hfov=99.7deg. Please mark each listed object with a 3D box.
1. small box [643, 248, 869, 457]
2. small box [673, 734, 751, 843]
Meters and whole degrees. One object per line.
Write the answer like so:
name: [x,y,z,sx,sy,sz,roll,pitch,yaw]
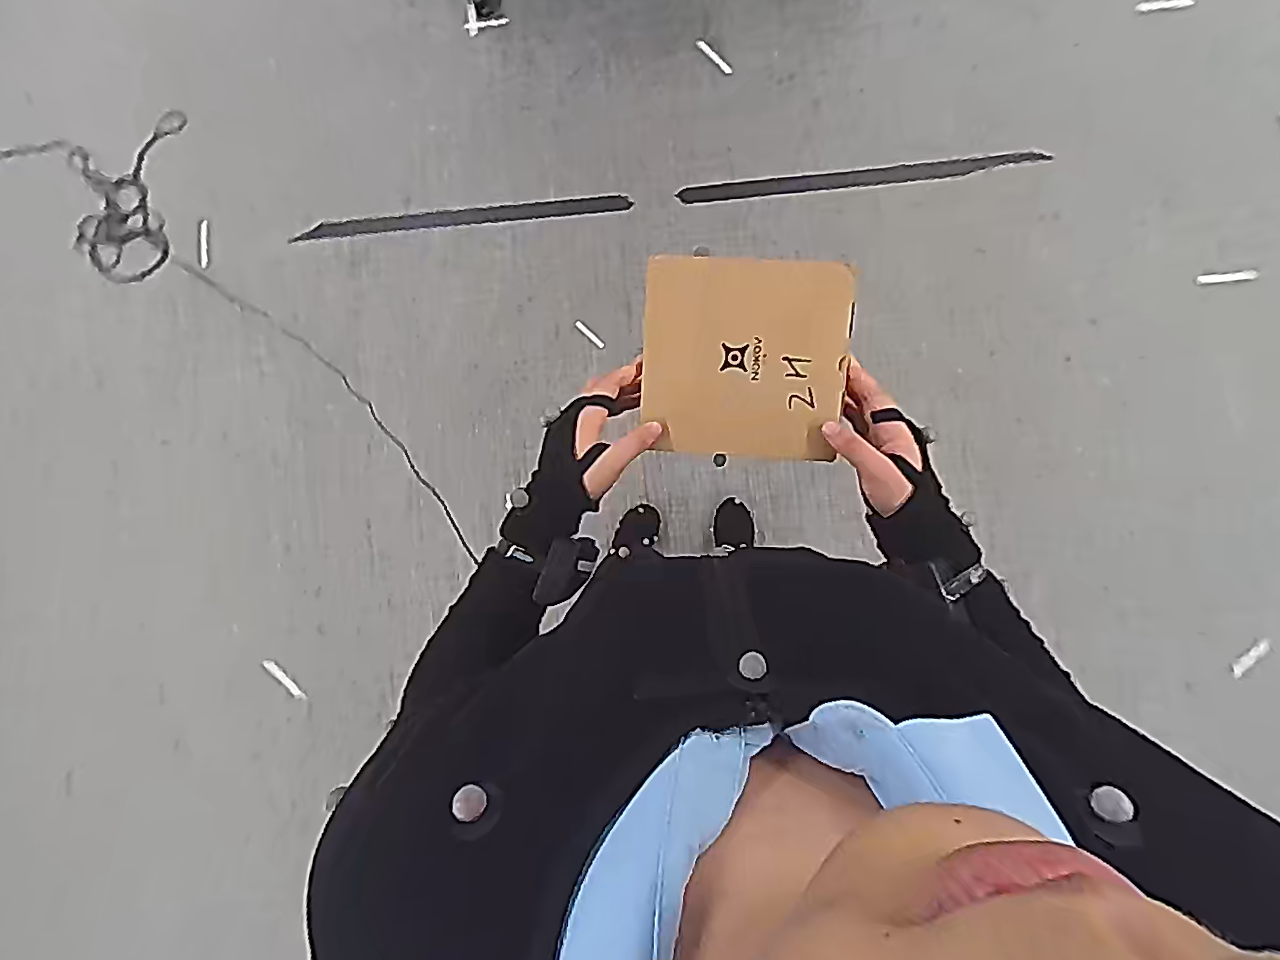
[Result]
small box: [0.099,-0.117,0.528,0.179,0.176,0.168,3,100,3]
small box: [0.178,0.777,1.374,0.168,0.176,0.179,-10,85,2]
